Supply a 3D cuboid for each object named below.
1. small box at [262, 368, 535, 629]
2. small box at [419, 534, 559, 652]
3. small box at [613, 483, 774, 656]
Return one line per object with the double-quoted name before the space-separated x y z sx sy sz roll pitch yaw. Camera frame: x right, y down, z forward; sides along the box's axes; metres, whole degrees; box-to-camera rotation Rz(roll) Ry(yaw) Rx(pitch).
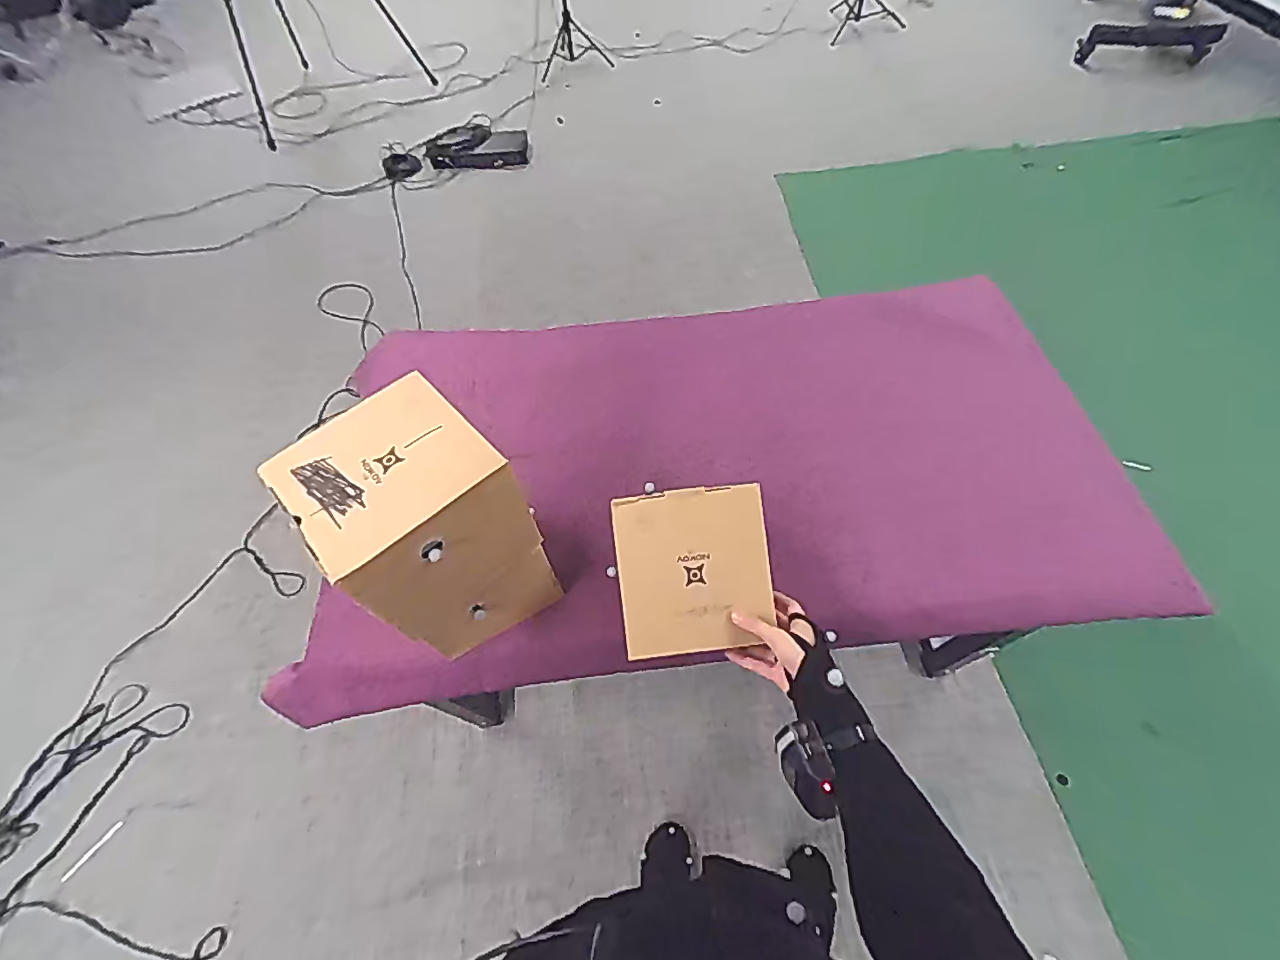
"small box" -0.235 0.025 0.566 0.179 0.176 0.168 -38 63 -21
"small box" -0.227 0.100 0.714 0.179 0.176 0.168 -28 61 -14
"small box" 0.056 0.100 0.664 0.168 0.176 0.179 -6 89 0
